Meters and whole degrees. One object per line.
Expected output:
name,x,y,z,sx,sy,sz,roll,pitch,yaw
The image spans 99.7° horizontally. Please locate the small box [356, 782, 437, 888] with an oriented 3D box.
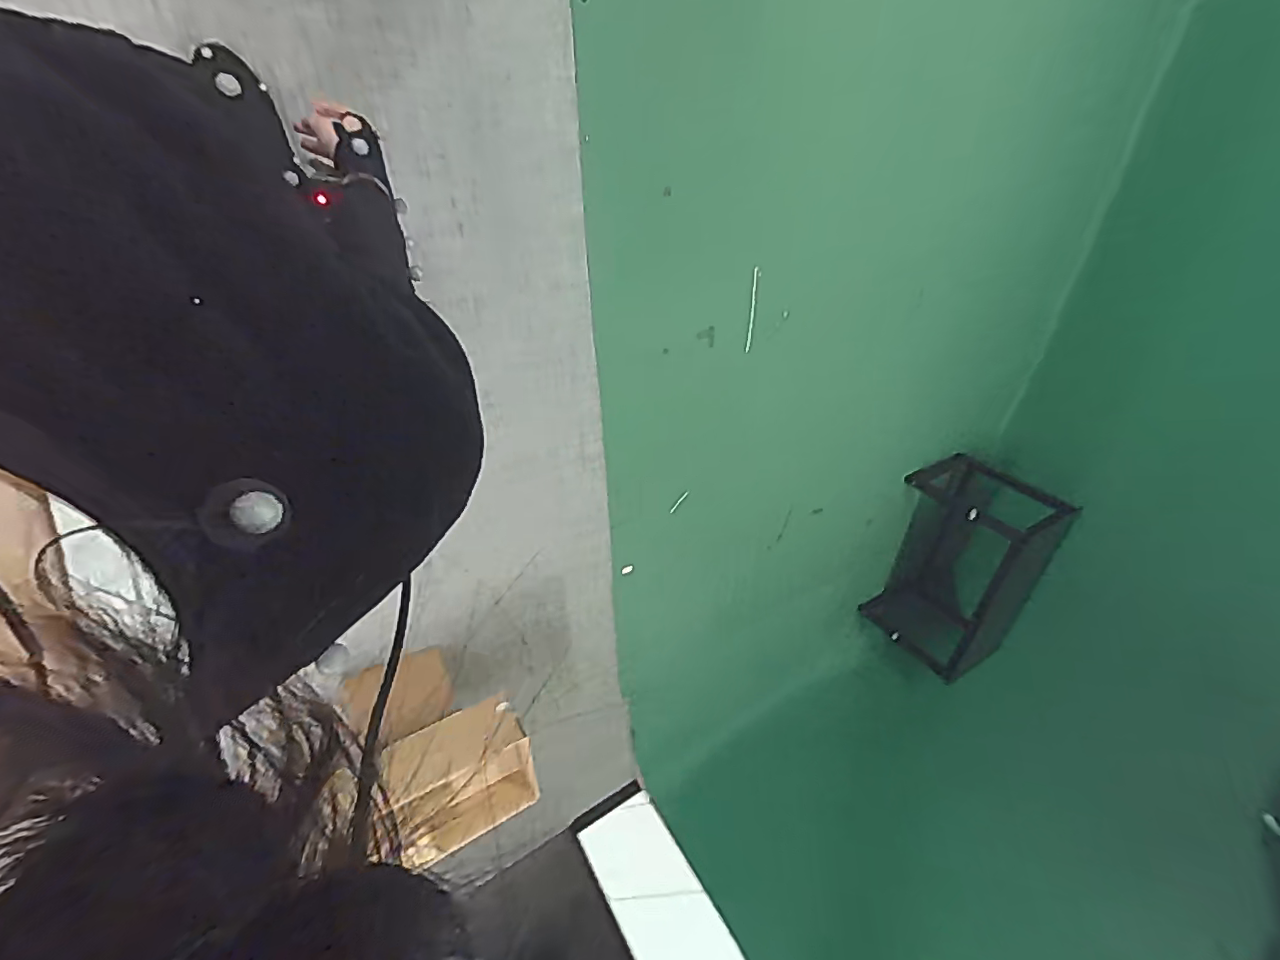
small box,-0.710,1.030,1.579,0.168,0.176,0.179,-19,129,-28
